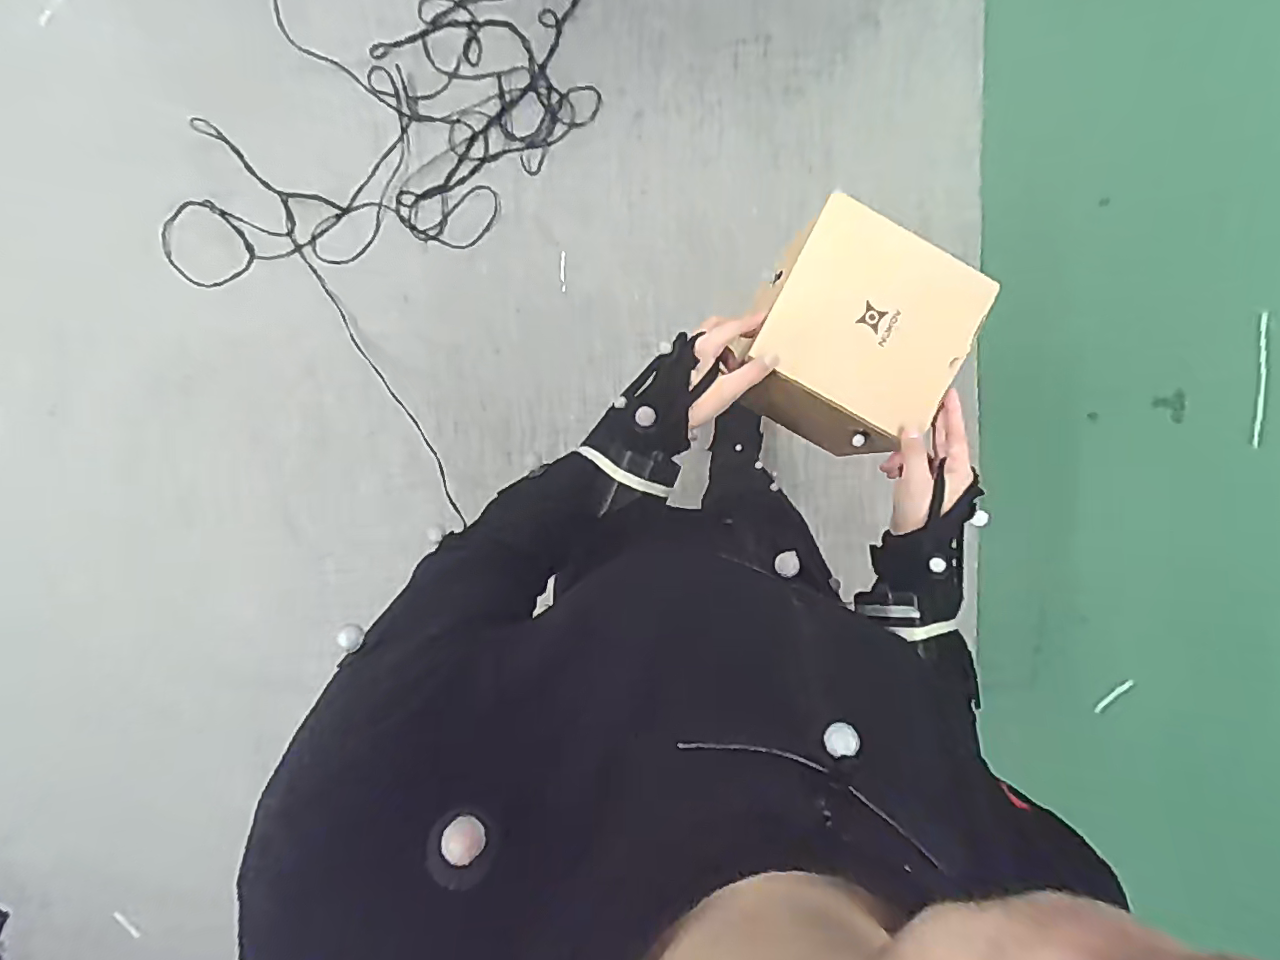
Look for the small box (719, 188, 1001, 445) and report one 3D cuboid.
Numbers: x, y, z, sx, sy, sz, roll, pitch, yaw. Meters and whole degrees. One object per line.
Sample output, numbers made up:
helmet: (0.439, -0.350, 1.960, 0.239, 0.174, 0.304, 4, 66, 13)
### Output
small box: (0.200, -0.143, 0.547, 0.179, 0.176, 0.168, 27, 89, -4)
